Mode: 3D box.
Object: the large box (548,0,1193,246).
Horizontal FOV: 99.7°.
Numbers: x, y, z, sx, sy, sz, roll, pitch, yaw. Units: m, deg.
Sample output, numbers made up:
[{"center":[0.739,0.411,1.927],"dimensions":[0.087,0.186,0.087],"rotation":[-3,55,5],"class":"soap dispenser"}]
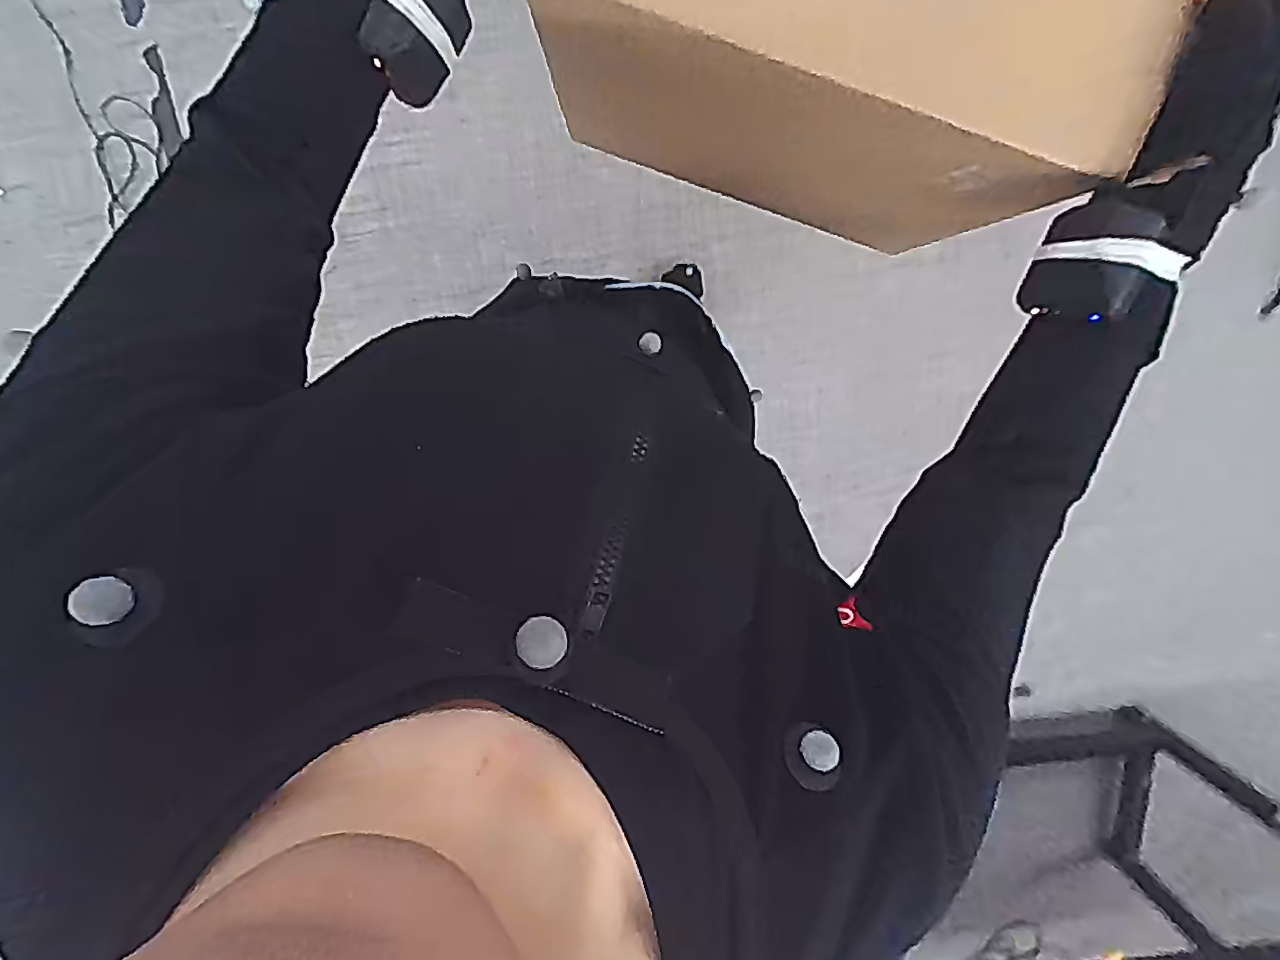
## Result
[{"center":[0.164,-0.433,0.453],"dimensions":[0.408,0.320,0.320],"rotation":[17,105,-6],"class":"large box"}]
